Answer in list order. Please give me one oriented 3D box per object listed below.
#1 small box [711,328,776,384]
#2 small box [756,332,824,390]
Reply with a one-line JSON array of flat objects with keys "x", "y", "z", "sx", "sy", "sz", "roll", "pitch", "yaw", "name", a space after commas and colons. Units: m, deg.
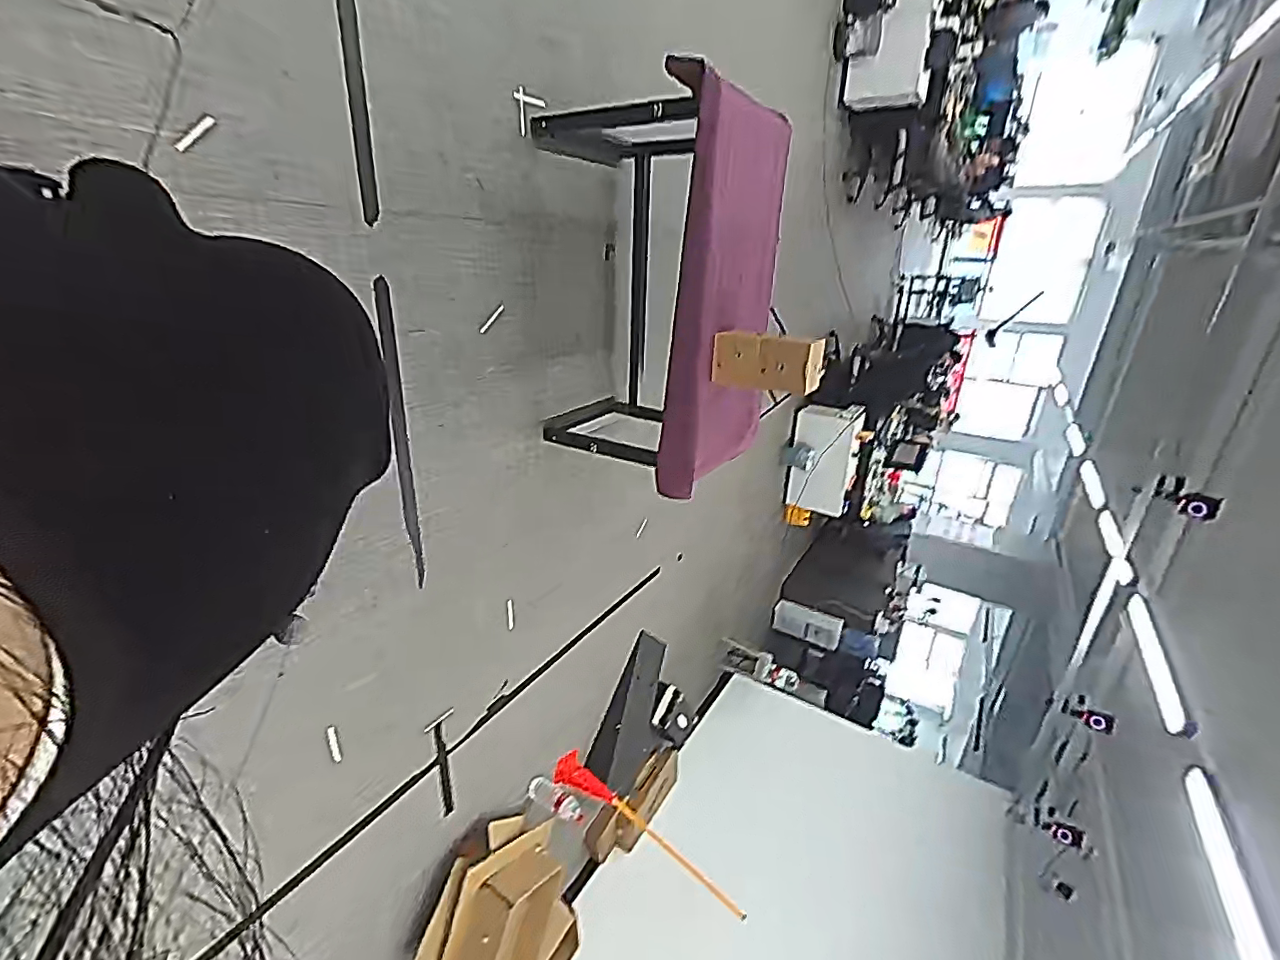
[{"x": 0.359, "y": -0.438, "z": 1.891, "sx": 0.179, "sy": 0.176, "sz": 0.168, "roll": -30, "pitch": 128, "yaw": -52, "name": "small box"}, {"x": 0.500, "y": -0.402, "z": 1.814, "sx": 0.179, "sy": 0.176, "sz": 0.168, "roll": -28, "pitch": 126, "yaw": -53, "name": "small box"}]
